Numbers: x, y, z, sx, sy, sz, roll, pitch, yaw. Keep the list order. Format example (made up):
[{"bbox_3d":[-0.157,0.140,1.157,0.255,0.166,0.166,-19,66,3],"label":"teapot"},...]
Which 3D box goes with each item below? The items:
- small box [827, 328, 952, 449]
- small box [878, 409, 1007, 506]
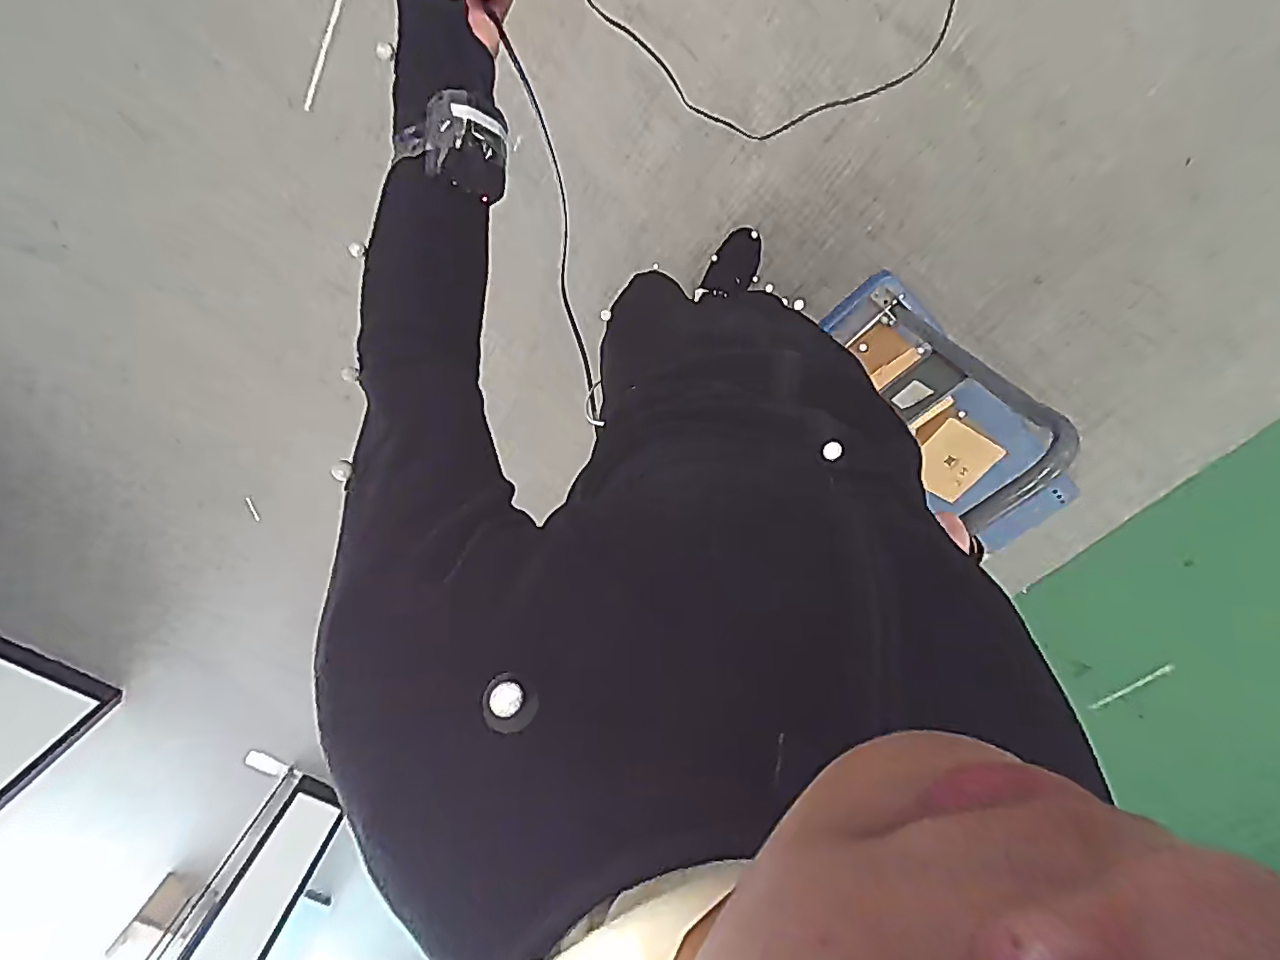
[{"bbox_3d":[0.548,-0.208,1.208,0.168,0.176,0.179,-39,112,23],"label":"small box"},{"bbox_3d":[0.702,-0.076,1.281,0.179,0.176,0.168,27,119,-13],"label":"small box"}]
